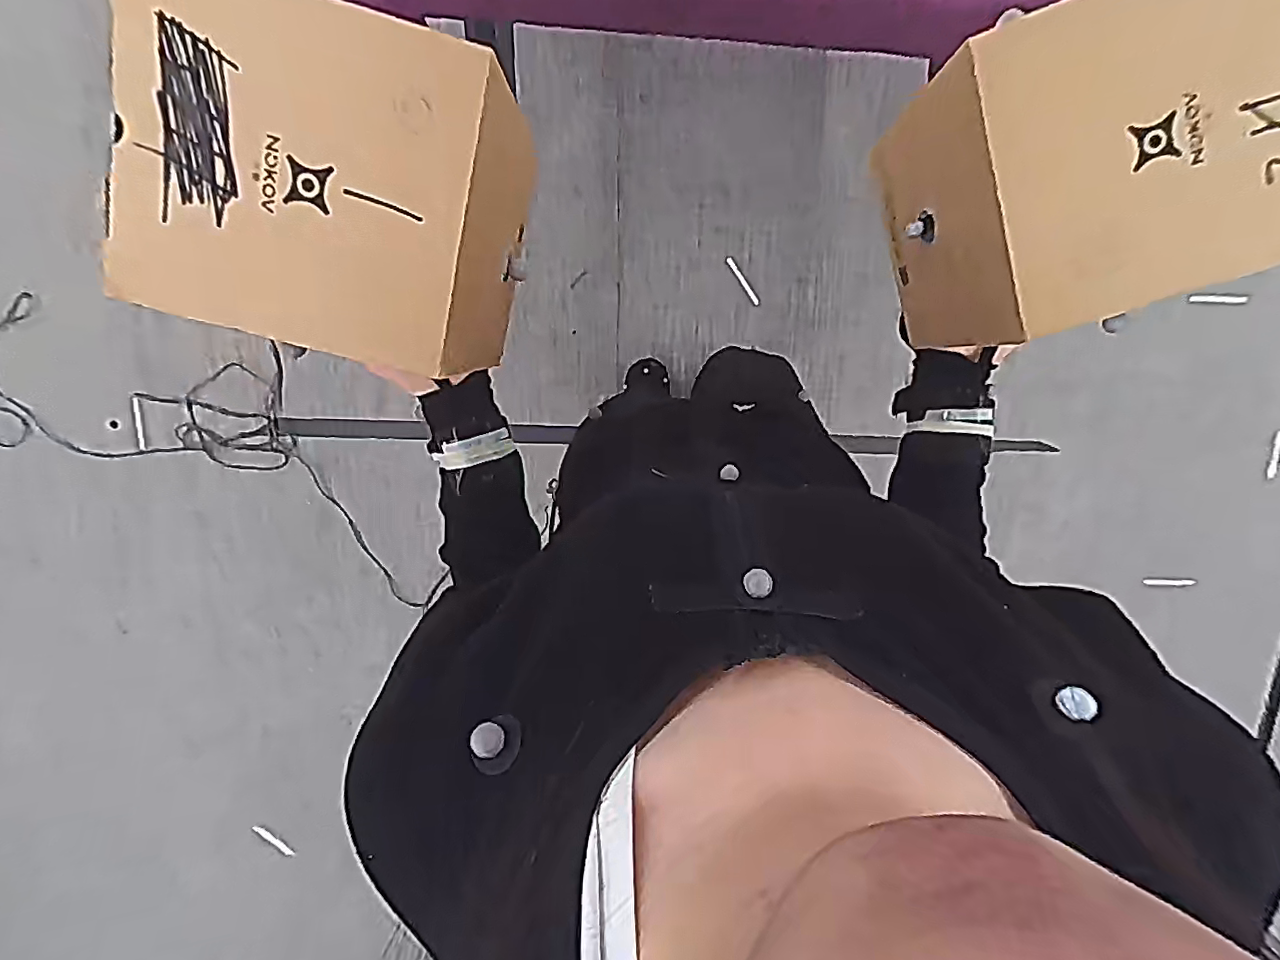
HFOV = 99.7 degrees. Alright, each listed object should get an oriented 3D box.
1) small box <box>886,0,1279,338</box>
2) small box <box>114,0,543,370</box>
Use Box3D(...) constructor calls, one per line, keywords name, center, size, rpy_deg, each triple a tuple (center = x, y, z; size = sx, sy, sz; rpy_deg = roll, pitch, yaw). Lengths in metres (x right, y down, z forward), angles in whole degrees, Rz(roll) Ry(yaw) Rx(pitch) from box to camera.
Box3D(name="small box", center=(0.286, -0.200, 0.364), size=(0.179, 0.176, 0.168), rpy_deg=(-16, 101, 8))
Box3D(name="small box", center=(-0.173, -0.176, 0.349), size=(0.179, 0.176, 0.168), rpy_deg=(14, 104, -7))
